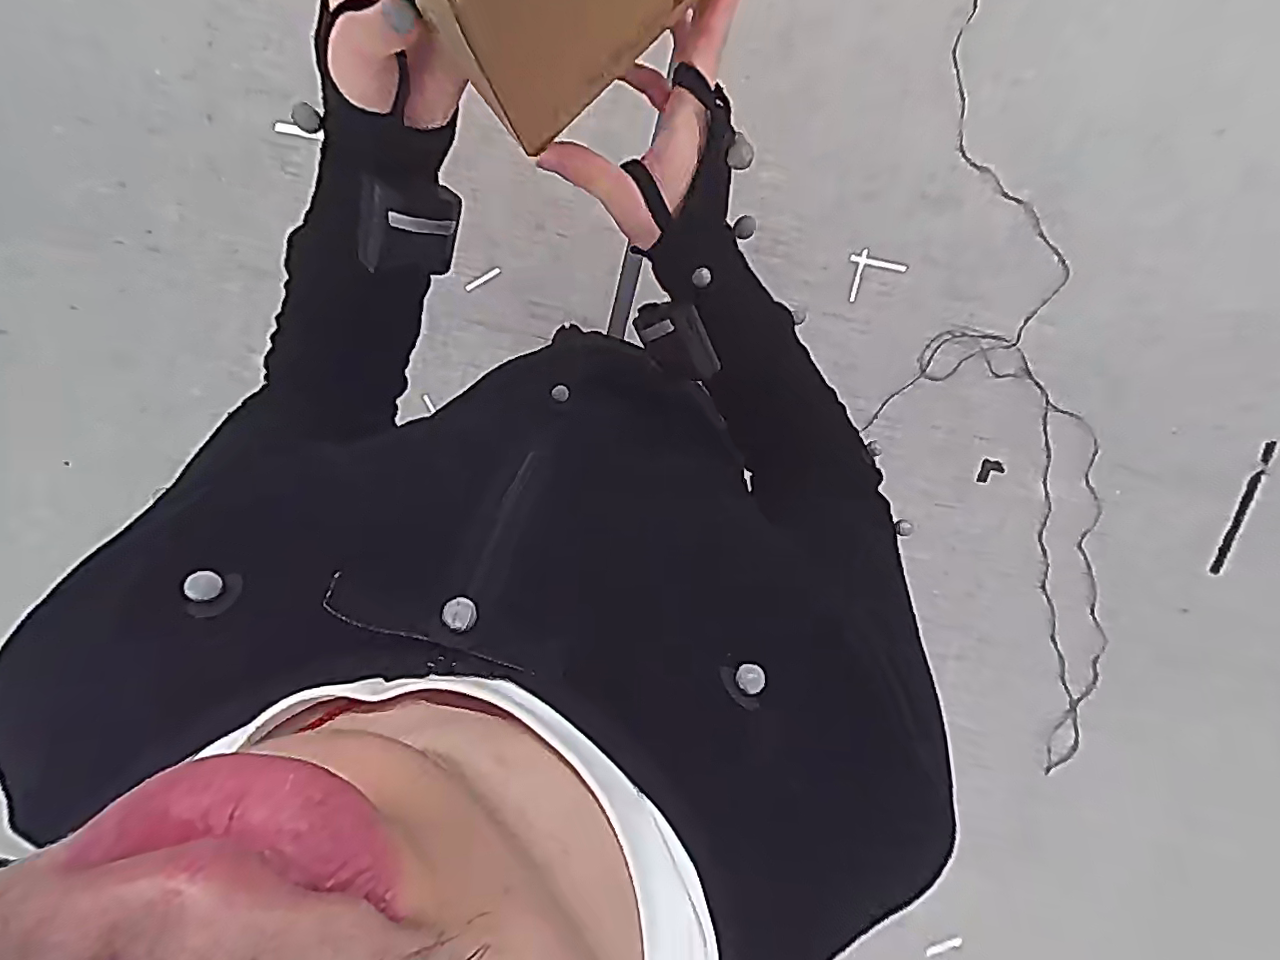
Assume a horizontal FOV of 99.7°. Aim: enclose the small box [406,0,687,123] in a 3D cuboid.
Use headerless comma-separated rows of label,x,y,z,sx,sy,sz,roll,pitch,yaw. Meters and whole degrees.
small box,-0.047,-0.269,0.194,0.168,0.176,0.179,-39,106,8
